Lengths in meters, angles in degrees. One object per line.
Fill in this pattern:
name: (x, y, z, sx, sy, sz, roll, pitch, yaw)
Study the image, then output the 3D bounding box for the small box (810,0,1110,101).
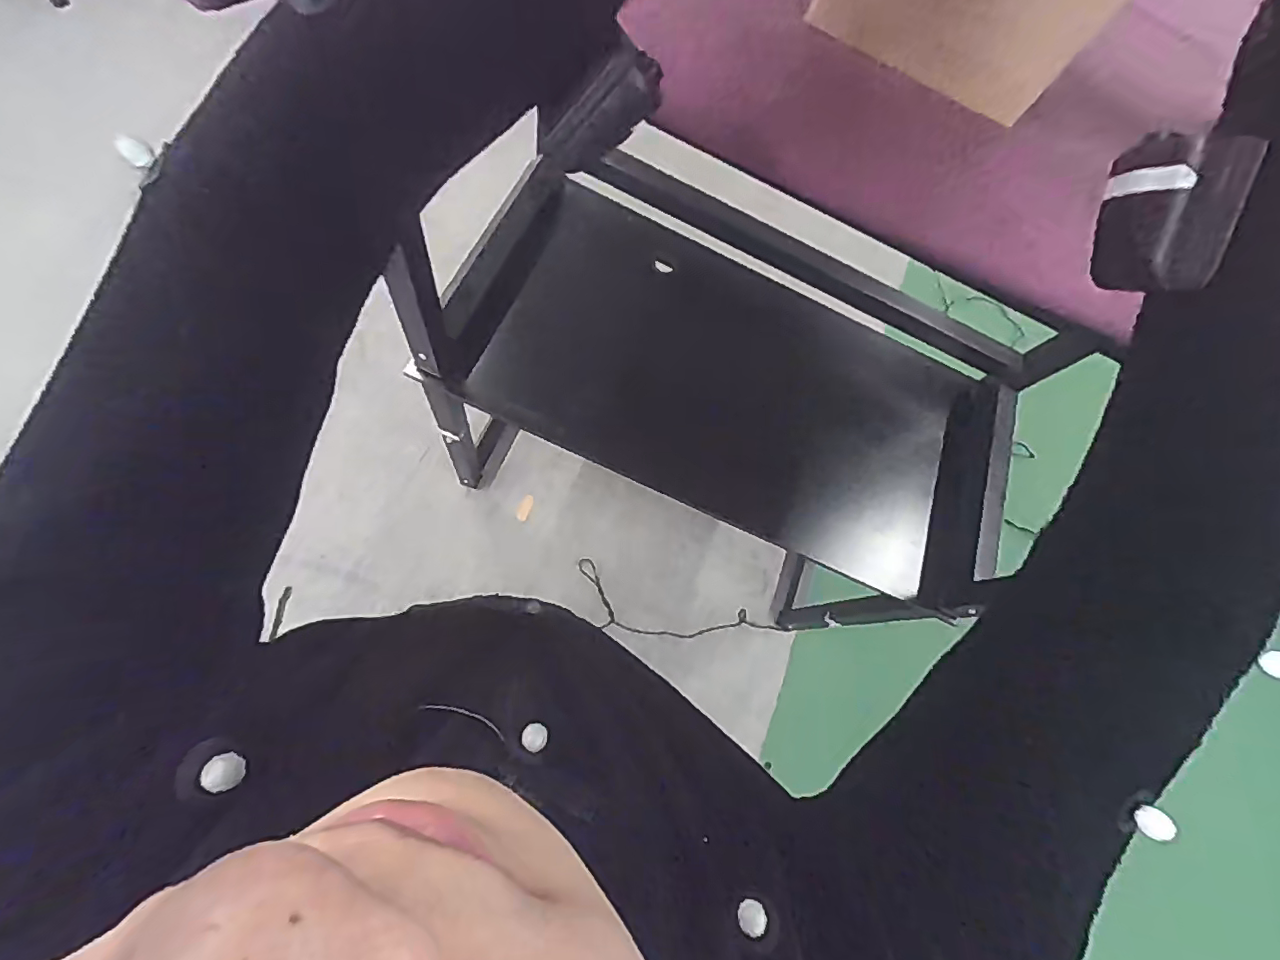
small box: (0.243, -0.395, 0.350, 0.179, 0.176, 0.168, 24, 69, -3)
